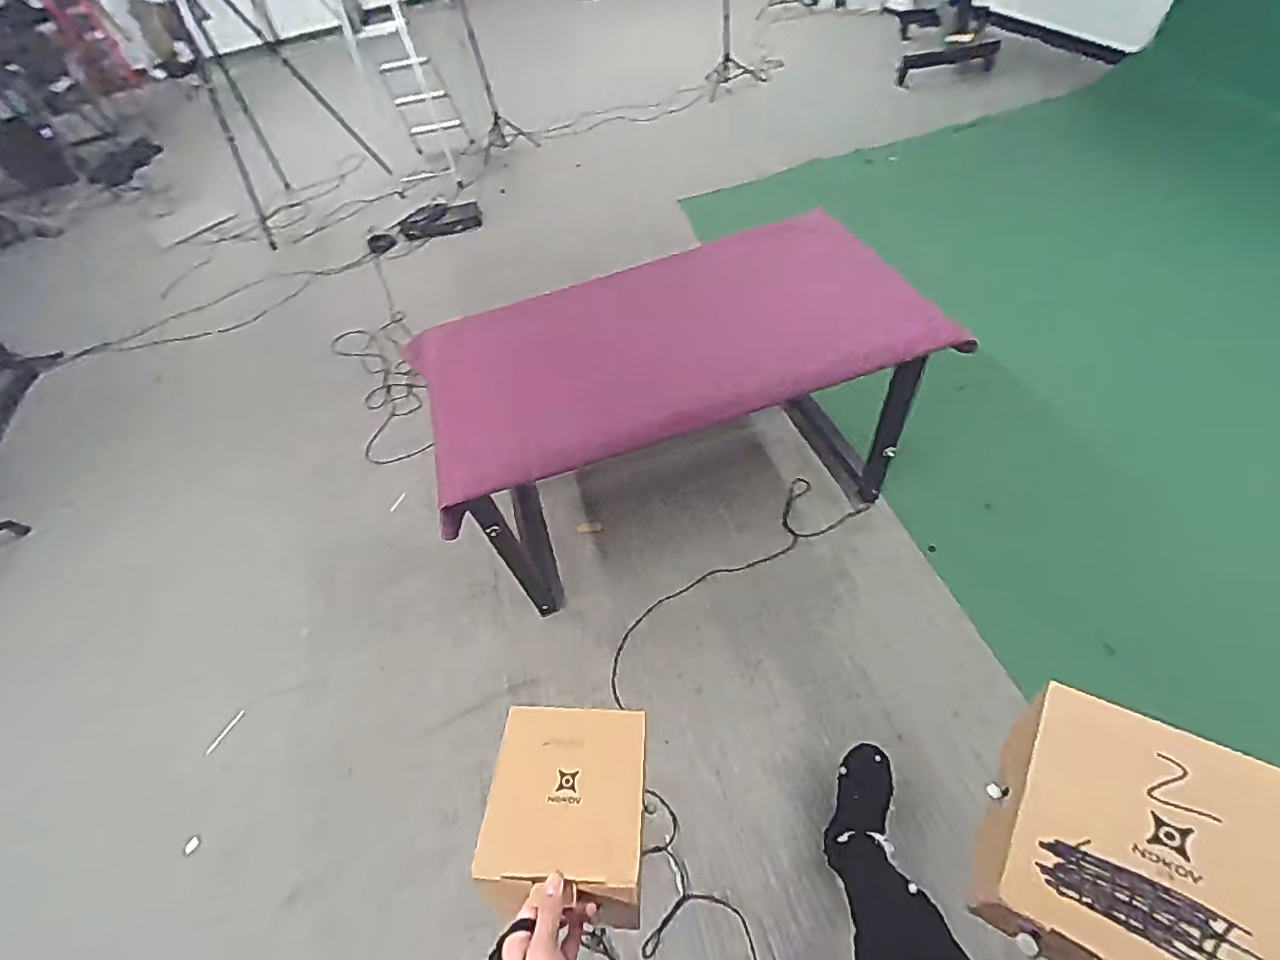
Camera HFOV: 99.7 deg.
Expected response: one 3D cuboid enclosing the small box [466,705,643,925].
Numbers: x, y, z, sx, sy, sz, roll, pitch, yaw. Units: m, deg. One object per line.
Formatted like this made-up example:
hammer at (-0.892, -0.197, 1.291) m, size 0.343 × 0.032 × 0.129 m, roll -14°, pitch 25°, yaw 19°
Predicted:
small box at (-0.083, 0.390, 0.631) m, size 0.168 × 0.176 × 0.179 m, roll 2°, pitch 38°, yaw 2°
